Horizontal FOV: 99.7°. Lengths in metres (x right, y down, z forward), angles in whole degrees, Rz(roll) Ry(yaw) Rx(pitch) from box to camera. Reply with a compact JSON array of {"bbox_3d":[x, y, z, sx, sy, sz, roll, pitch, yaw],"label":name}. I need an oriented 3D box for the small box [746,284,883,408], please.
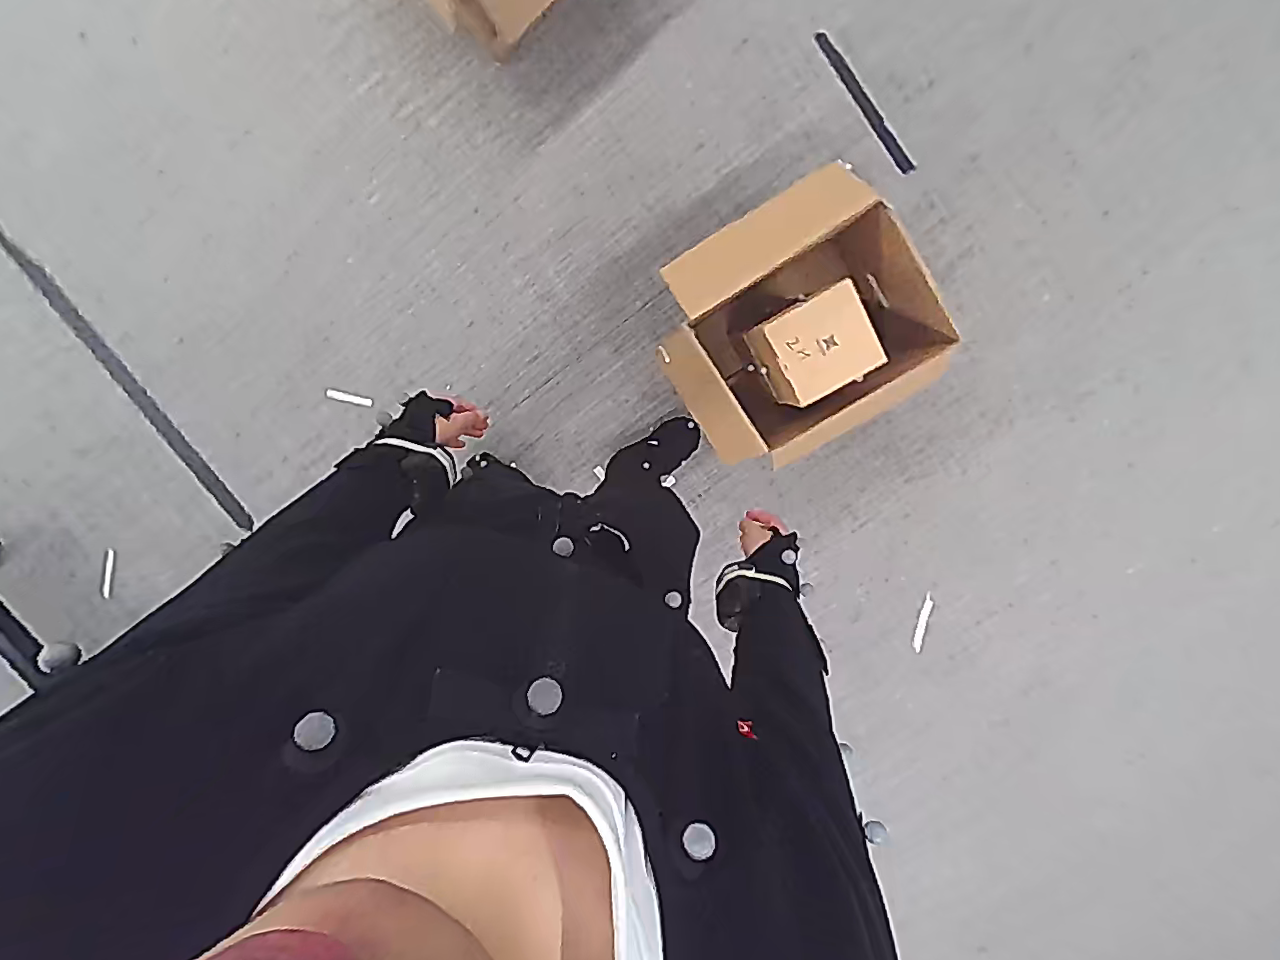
[{"bbox_3d":[0.332,-0.258,1.057,0.179,0.176,0.168,-29,100,5],"label":"small box"}]
